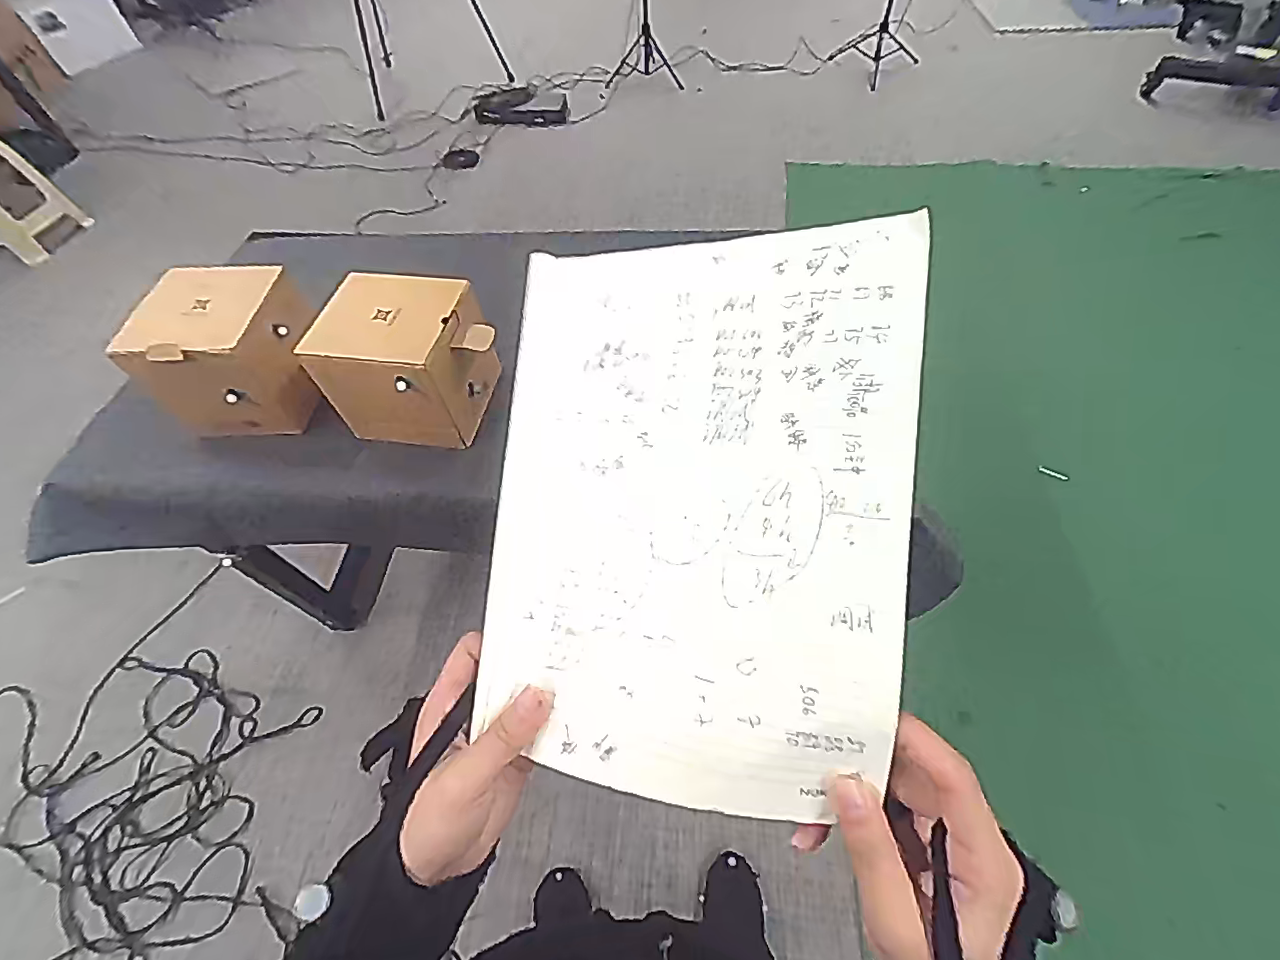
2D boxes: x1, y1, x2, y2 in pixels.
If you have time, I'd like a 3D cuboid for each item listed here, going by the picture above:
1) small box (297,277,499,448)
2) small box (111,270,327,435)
[{"bbox_3d":[-0.321,-0.161,0.761,0.179,0.176,0.168,6,55,6],"label":"small box"},{"bbox_3d":[-0.579,-0.179,0.786,0.168,0.176,0.179,-1,54,1],"label":"small box"}]
